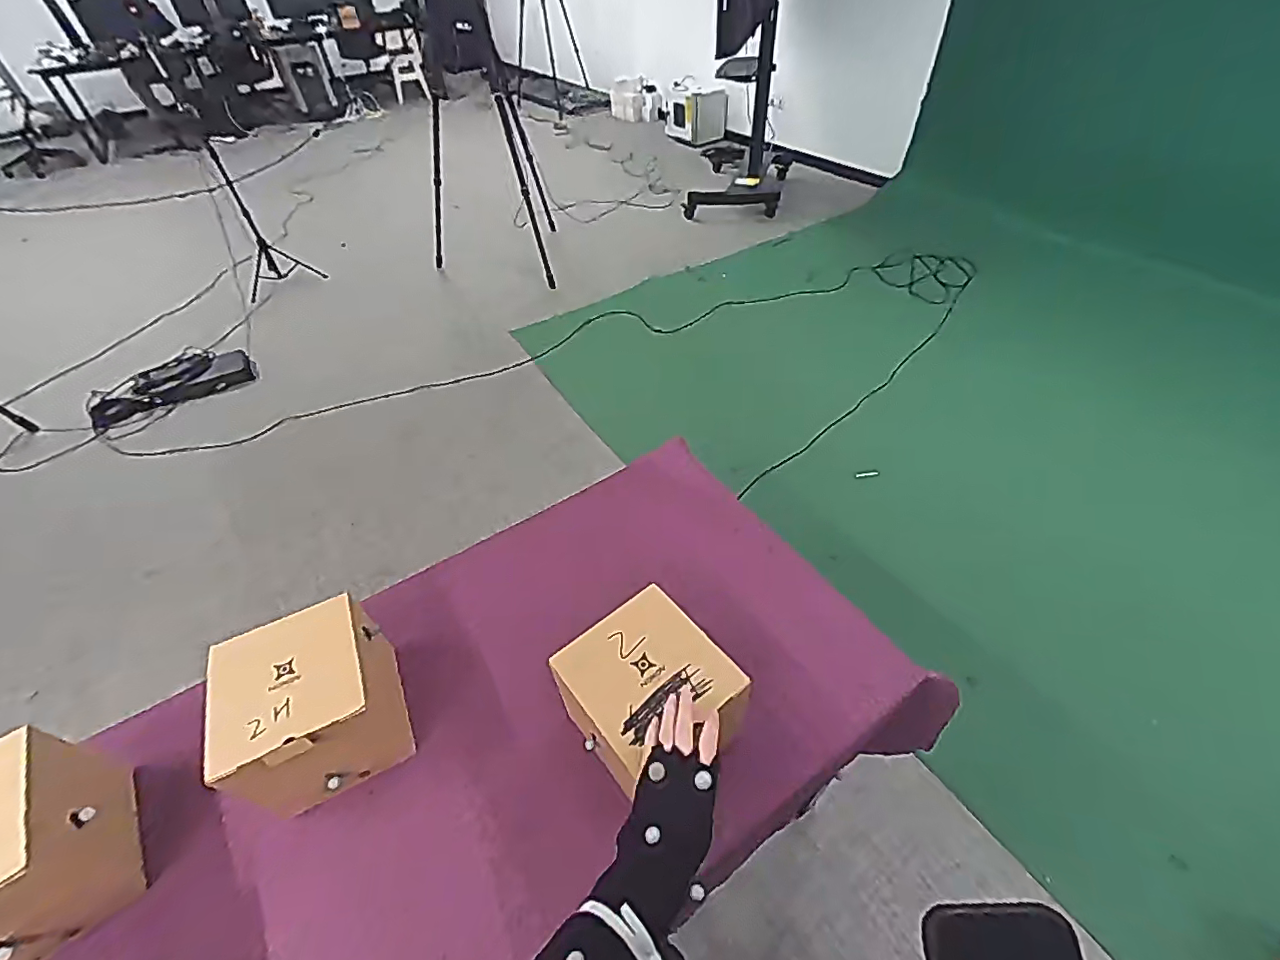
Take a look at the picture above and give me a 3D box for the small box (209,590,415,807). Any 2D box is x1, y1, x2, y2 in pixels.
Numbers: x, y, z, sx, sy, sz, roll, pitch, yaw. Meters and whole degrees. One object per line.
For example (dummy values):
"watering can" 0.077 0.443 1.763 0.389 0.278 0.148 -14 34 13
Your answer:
"small box" -0.414 0.282 0.700 0.168 0.176 0.179 -23 50 -16

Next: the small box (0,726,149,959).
"small box" -0.692 0.417 0.595 0.168 0.176 0.179 -31 54 -24
